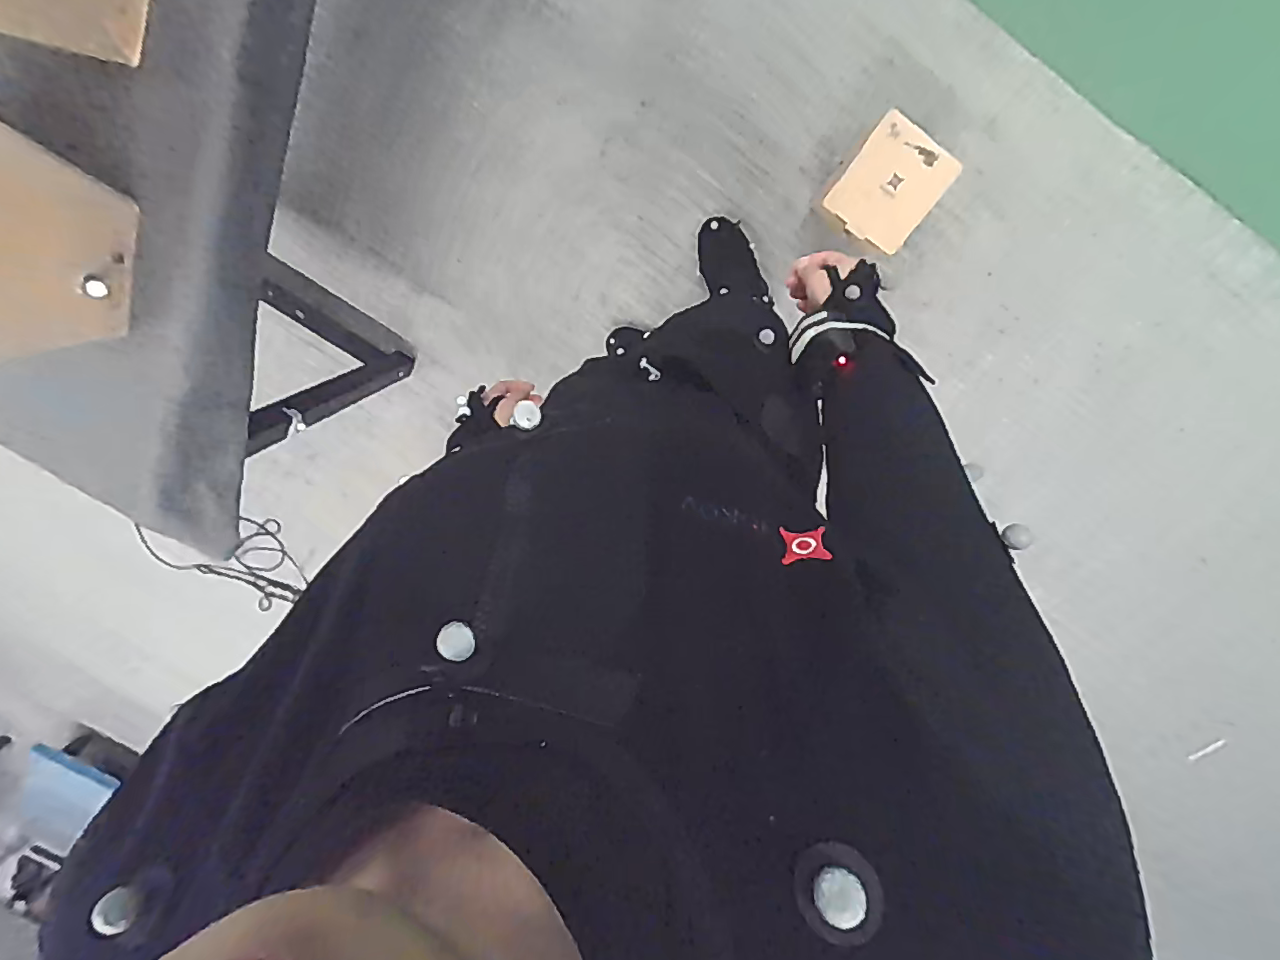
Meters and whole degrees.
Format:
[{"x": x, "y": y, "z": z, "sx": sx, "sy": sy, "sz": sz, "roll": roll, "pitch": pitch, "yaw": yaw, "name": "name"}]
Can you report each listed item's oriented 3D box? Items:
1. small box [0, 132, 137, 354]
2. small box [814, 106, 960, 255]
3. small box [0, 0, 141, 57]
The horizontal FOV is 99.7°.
[{"x": -0.658, "y": -0.235, "z": 0.526, "sx": 0.179, "sy": 0.176, "sz": 0.168, "roll": 30, "pitch": 117, "yaw": -7, "name": "small box"}, {"x": 0.445, "y": -0.551, "z": 1.012, "sx": 0.168, "sy": 0.176, "sz": 0.179, "roll": 33, "pitch": 117, "yaw": -7, "name": "small box"}, {"x": -0.522, "y": -0.461, "z": 0.396, "sx": 0.179, "sy": 0.176, "sz": 0.168, "roll": 33, "pitch": 116, "yaw": -8, "name": "small box"}]
